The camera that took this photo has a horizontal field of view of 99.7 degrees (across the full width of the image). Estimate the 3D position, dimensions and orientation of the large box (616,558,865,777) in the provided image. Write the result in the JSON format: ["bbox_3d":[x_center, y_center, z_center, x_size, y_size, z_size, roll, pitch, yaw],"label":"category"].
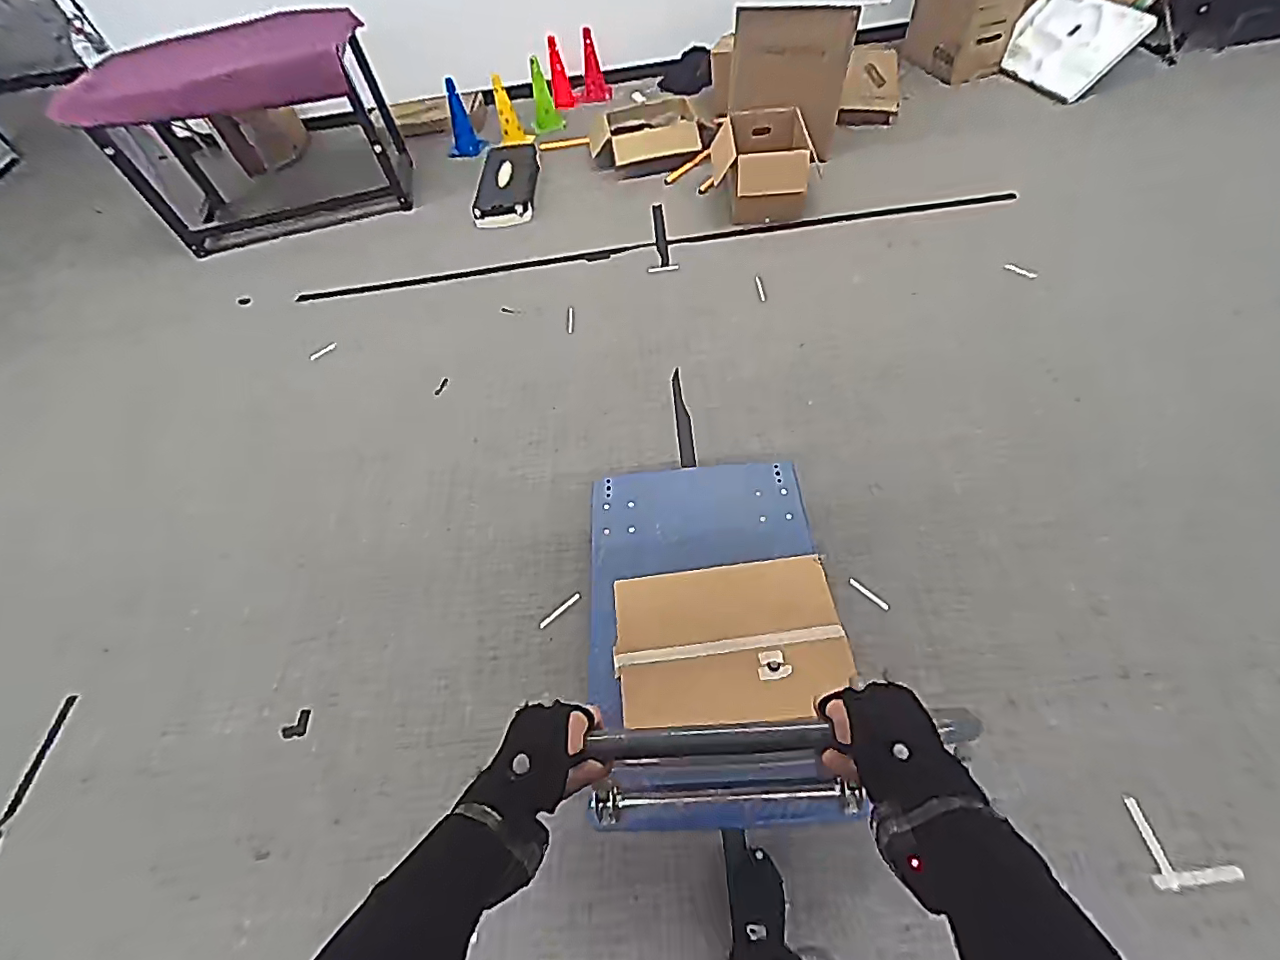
[{"bbox_3d":[0.177,0.391,1.104,0.408,0.320,0.320,-8,55,1],"label":"large box"}]
